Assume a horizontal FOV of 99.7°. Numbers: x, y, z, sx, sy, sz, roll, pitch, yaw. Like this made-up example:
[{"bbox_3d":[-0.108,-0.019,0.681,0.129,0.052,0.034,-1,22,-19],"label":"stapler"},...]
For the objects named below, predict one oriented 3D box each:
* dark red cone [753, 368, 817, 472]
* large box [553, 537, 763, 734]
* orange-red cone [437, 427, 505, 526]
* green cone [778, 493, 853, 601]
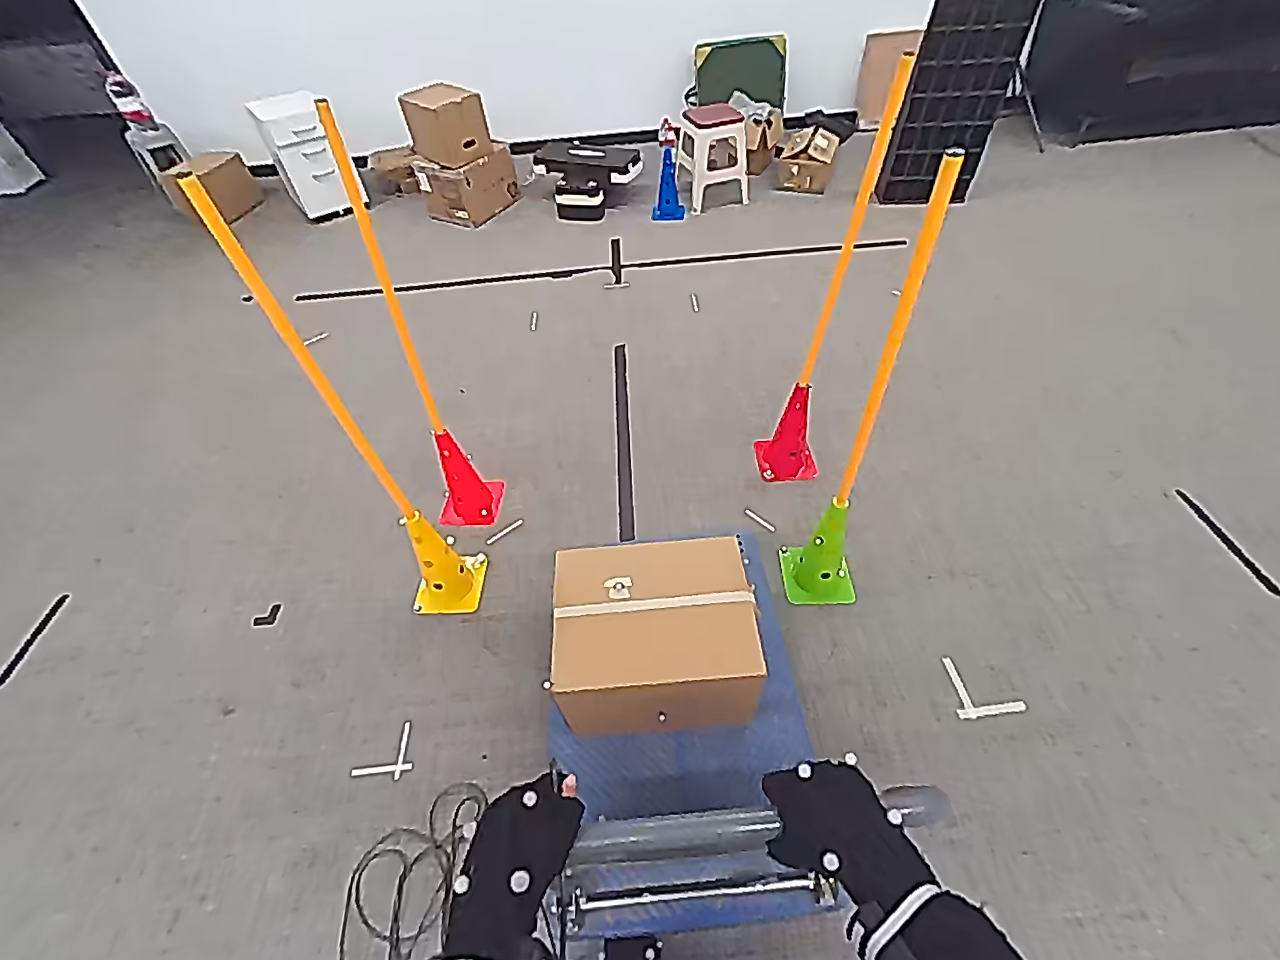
[{"bbox_3d":[0.518,-0.208,1.835,0.201,0.394,0.202,-4,49,-1],"label":"dark red cone"},{"bbox_3d":[0.034,0.356,1.216,0.408,0.320,0.320,-5,49,1],"label":"large box"},{"bbox_3d":[-0.602,-0.034,1.796,0.198,0.360,0.199,2,48,4],"label":"orange-red cone"},{"bbox_3d":[0.529,0.170,1.530,0.202,0.368,0.200,-1,49,2],"label":"green cone"}]
